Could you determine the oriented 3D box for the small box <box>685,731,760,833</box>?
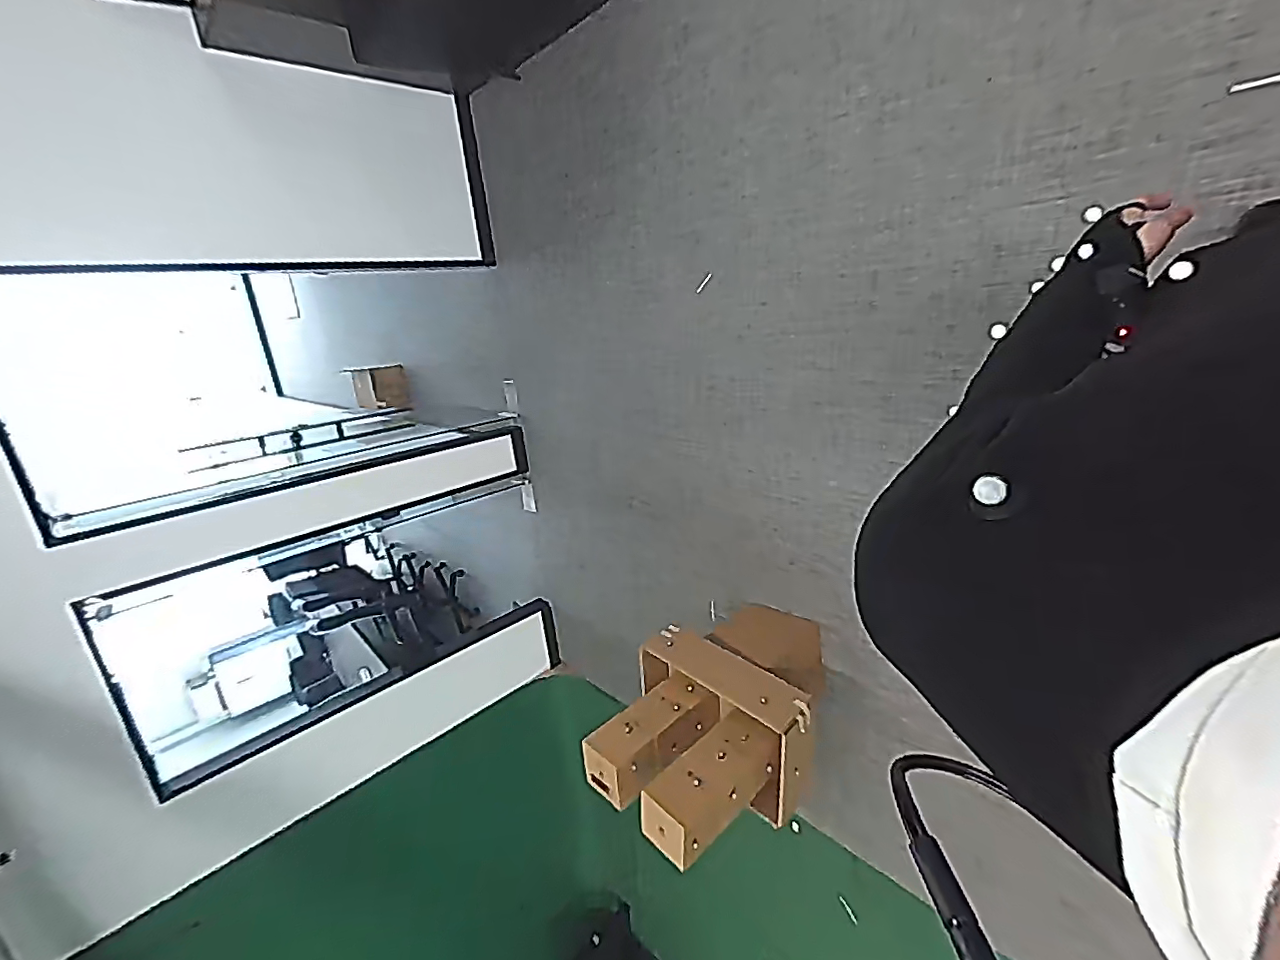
[{"bbox_3d":[0.250,0.915,1.655,0.168,0.176,0.179,21,120,44],"label":"small box"}]

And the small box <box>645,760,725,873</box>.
[{"bbox_3d":[0.131,0.959,1.554,0.168,0.176,0.179,20,120,42],"label":"small box"}]

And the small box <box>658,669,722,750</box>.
[{"bbox_3d":[0.182,0.821,1.955,0.168,0.176,0.179,16,117,44],"label":"small box"}]

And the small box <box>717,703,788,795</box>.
[{"bbox_3d":[0.367,0.873,1.764,0.168,0.176,0.179,19,119,44],"label":"small box"}]

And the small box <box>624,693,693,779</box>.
[{"bbox_3d":[0.067,0.867,1.847,0.168,0.176,0.179,14,117,44],"label":"small box"}]
